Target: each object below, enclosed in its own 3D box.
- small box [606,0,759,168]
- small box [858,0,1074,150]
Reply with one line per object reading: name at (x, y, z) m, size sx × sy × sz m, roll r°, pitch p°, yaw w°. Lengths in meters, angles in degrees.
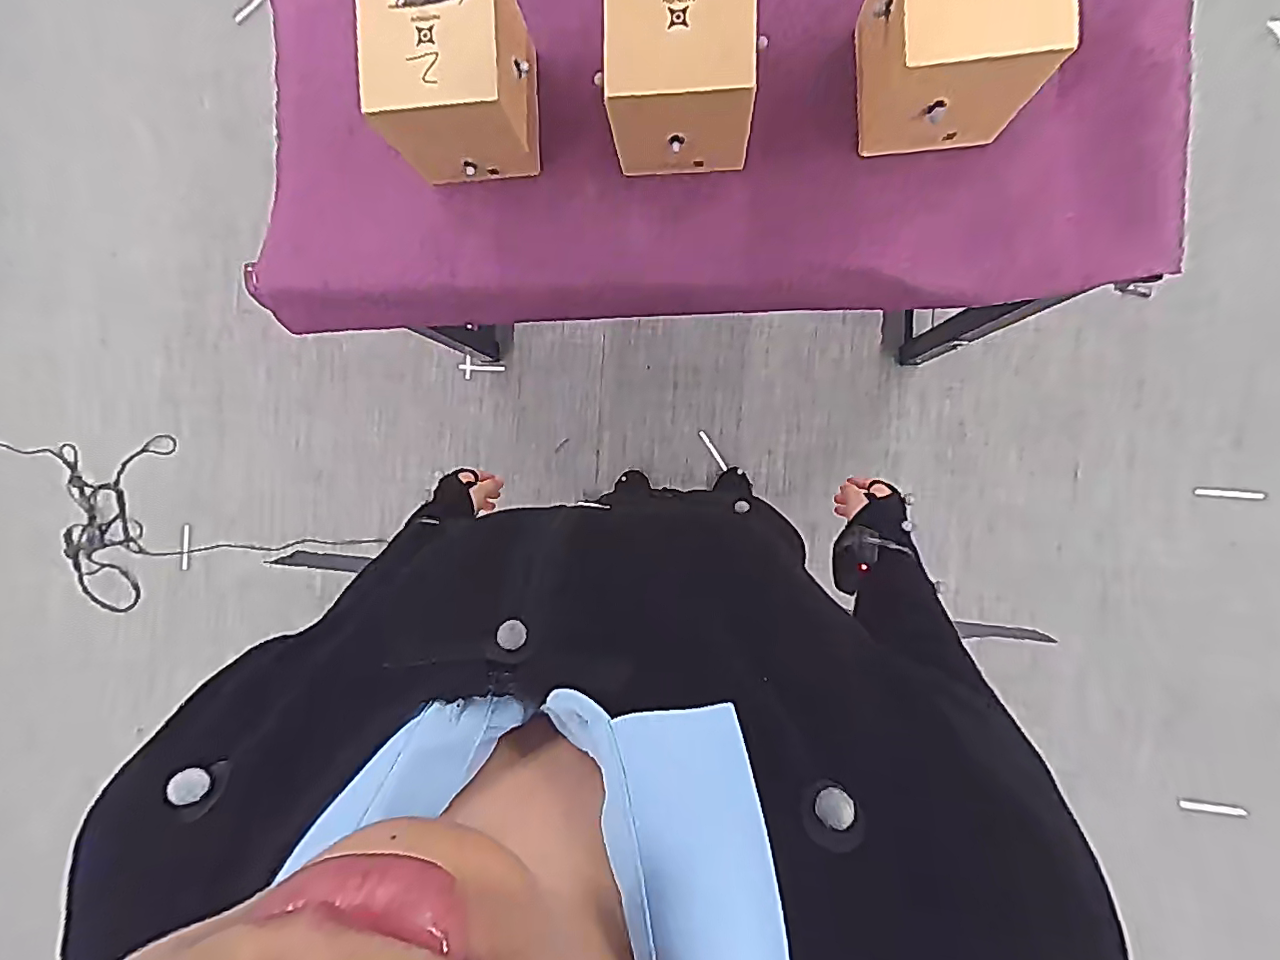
small box at (0.054, -0.507, 0.662) m, size 0.168 × 0.176 × 0.179 m, roll 1°, pitch 92°, yaw 5°
small box at (0.362, -0.514, 0.630) m, size 0.168 × 0.176 × 0.179 m, roll -2°, pitch 90°, yaw 7°
